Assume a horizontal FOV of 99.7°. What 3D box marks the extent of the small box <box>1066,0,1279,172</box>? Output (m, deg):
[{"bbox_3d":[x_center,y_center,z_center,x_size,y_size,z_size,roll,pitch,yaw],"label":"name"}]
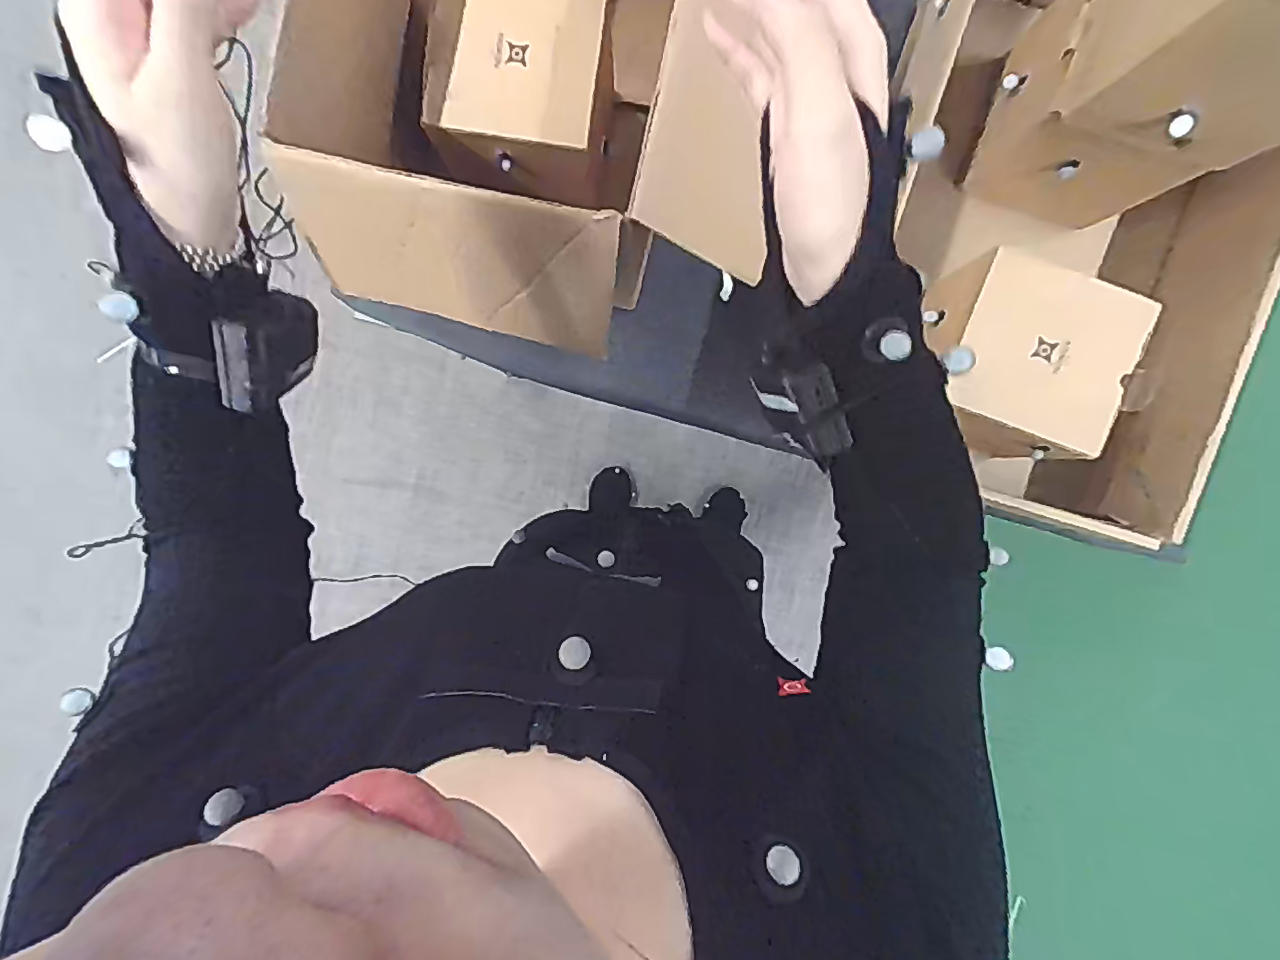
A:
[{"bbox_3d":[0.502,-0.393,0.437,0.168,0.176,0.179,16,96,-1],"label":"small box"}]
